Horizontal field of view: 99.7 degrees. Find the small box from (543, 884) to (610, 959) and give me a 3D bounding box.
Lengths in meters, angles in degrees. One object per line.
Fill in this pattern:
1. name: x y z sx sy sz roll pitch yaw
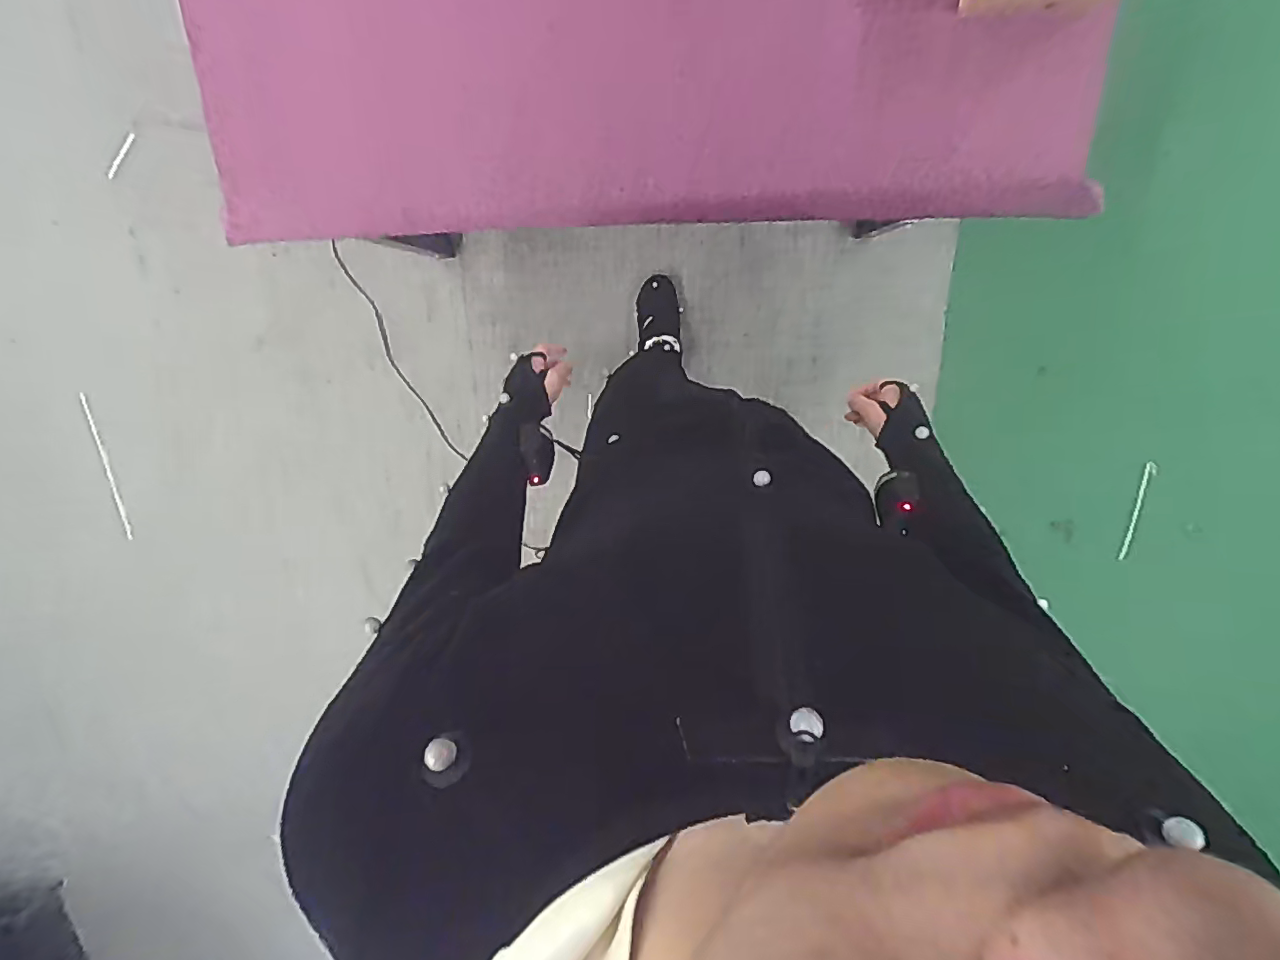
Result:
1. small box: -0.173 1.269 1.508 0.168 0.176 0.179 -1 108 1
